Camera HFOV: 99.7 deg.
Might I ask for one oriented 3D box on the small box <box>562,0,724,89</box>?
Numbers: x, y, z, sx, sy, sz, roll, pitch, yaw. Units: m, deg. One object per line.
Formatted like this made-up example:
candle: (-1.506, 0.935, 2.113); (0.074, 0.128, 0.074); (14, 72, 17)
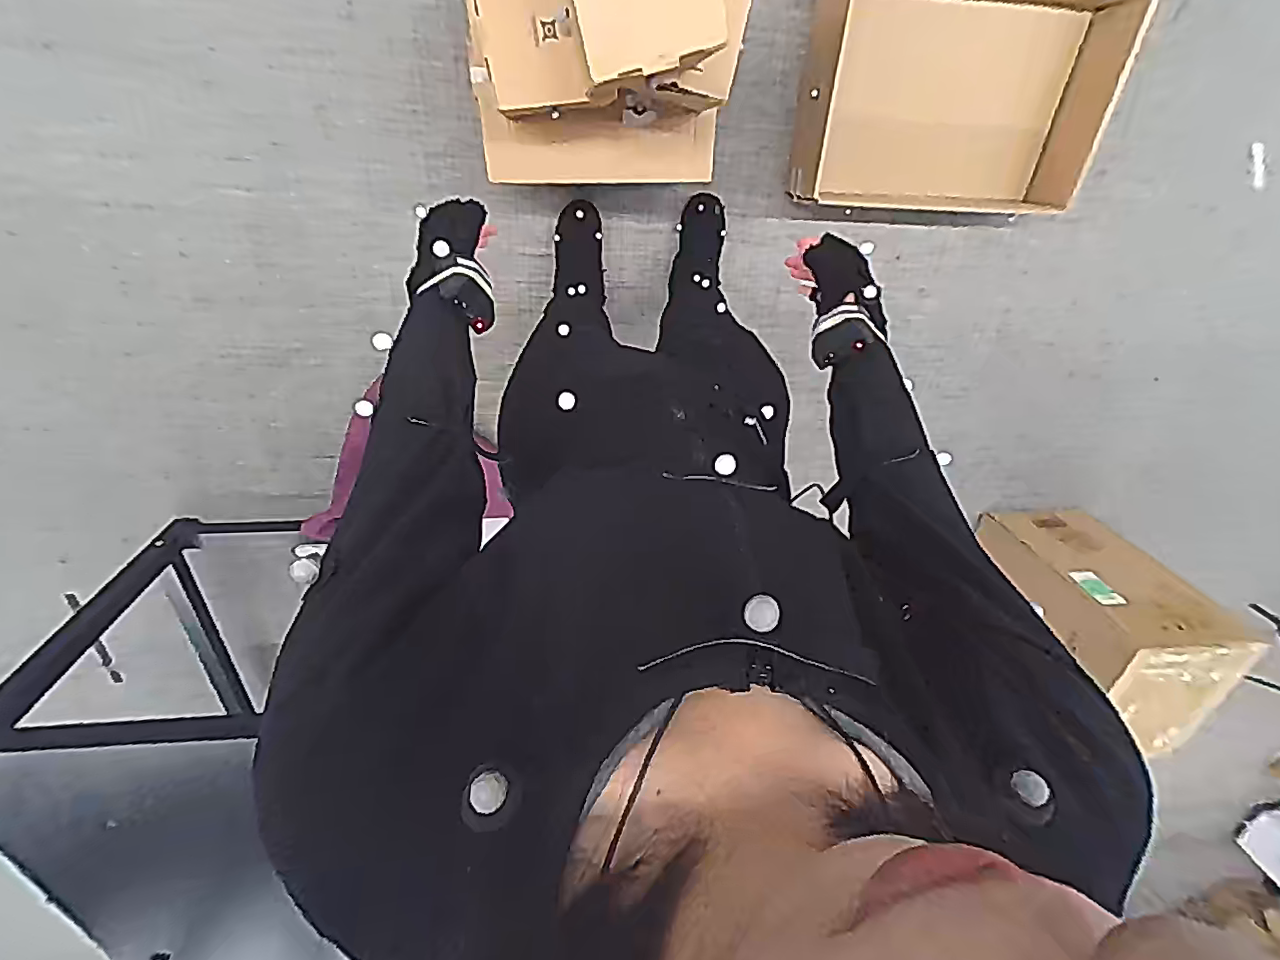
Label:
small box: (-0.008, -0.590, 0.646); (0.168, 0.176, 0.179); (-15, 122, 1)

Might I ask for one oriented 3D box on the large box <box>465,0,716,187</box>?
large box: (-0.090, -0.743, 1.020); (0.408, 0.320, 0.320); (-5, 122, -7)
